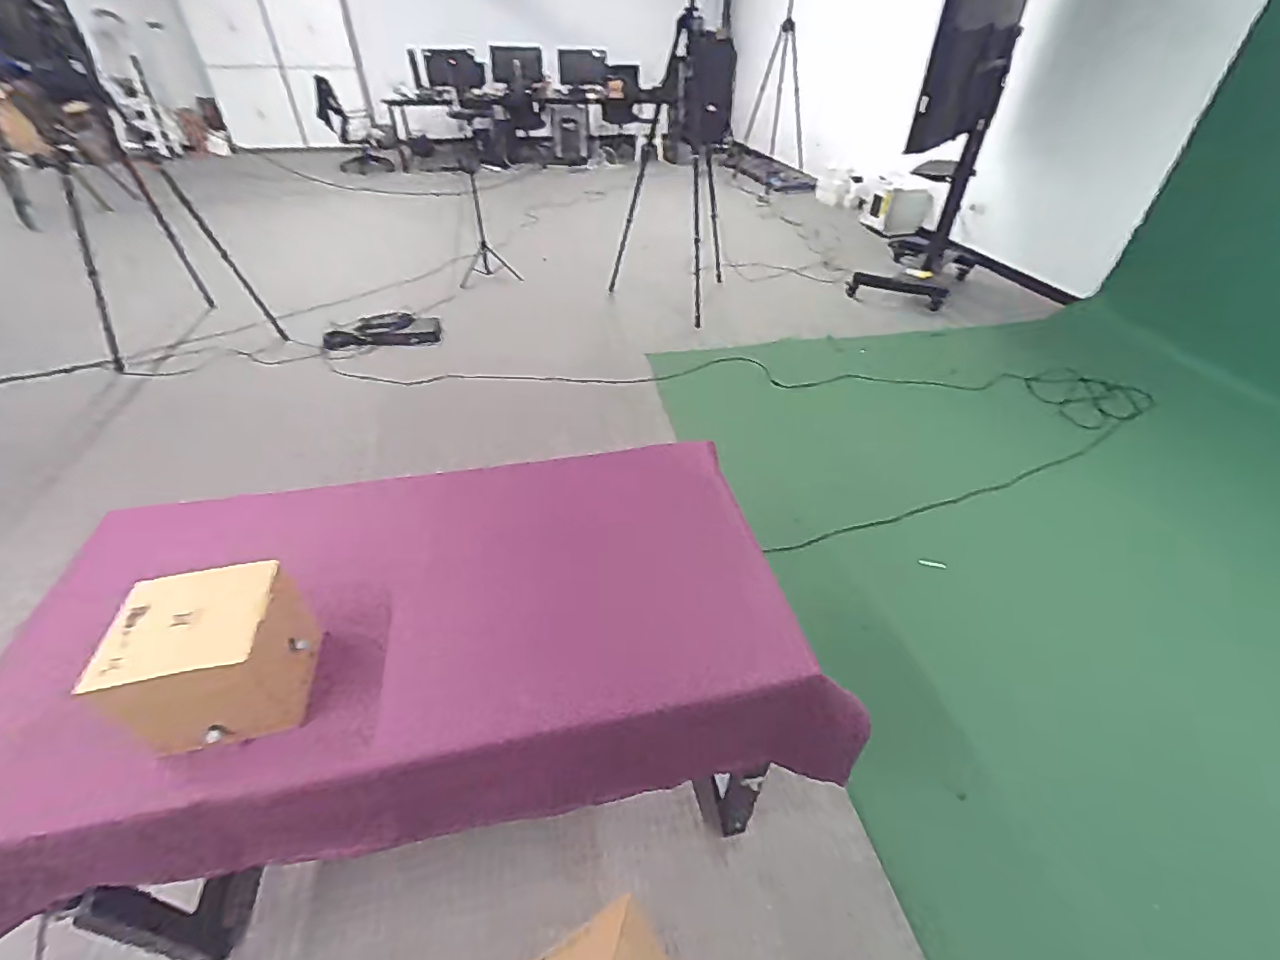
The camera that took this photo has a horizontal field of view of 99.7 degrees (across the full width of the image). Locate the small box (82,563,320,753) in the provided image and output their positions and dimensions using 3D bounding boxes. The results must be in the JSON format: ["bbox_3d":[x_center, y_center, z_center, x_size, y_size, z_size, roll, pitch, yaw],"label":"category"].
[{"bbox_3d":[-0.563,0.239,0.731,0.179,0.176,0.168,-8,41,-12],"label":"small box"}]
